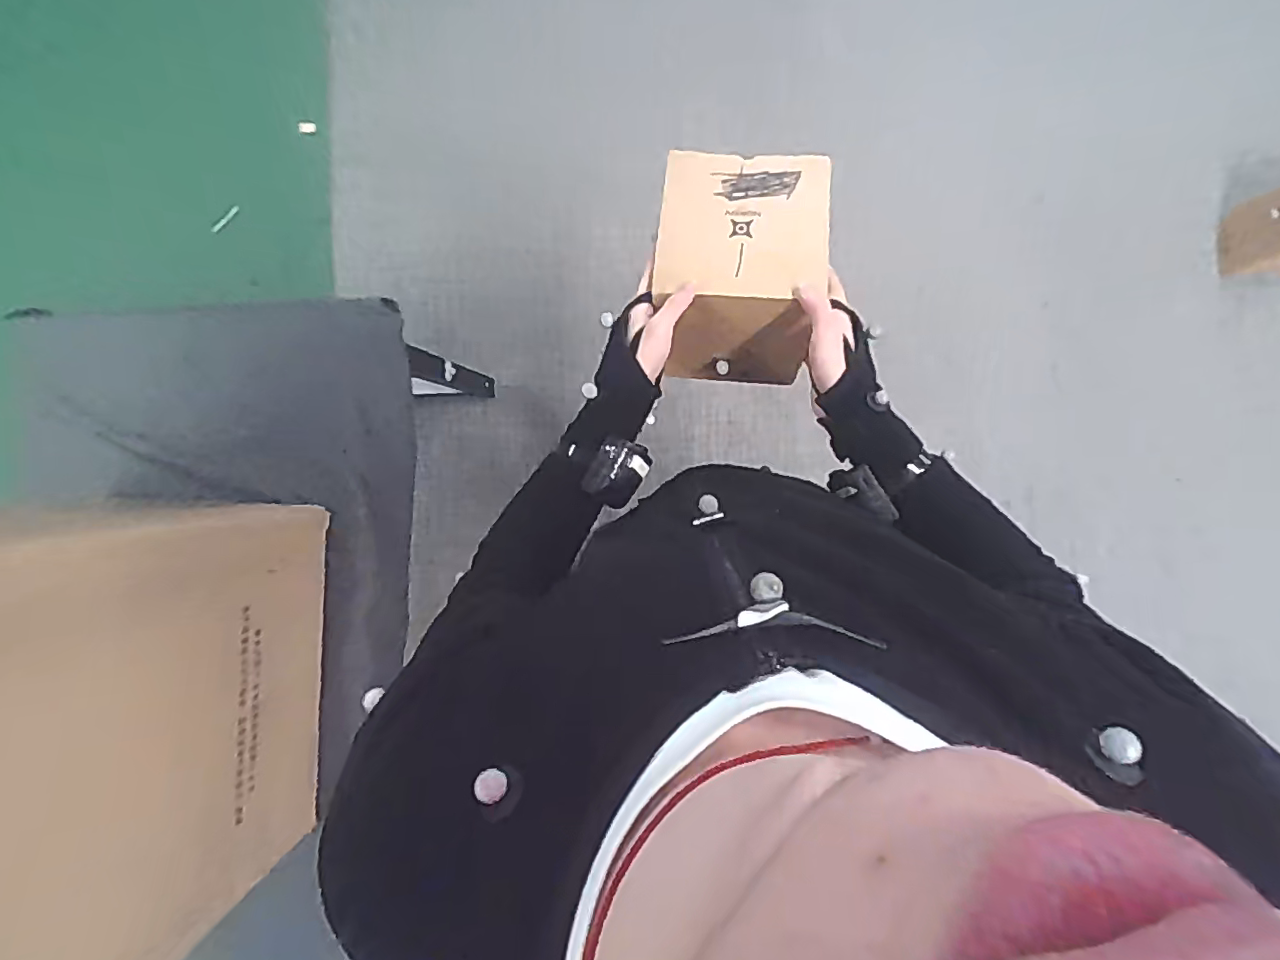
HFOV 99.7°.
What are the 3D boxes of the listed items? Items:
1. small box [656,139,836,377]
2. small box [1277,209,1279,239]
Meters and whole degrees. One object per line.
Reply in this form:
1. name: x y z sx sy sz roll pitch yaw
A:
1. small box: 0.109 -0.238 0.605 0.168 0.176 0.179 6 75 5
2. small box: 1.558 -0.632 1.171 0.179 0.176 0.168 -2 93 3
